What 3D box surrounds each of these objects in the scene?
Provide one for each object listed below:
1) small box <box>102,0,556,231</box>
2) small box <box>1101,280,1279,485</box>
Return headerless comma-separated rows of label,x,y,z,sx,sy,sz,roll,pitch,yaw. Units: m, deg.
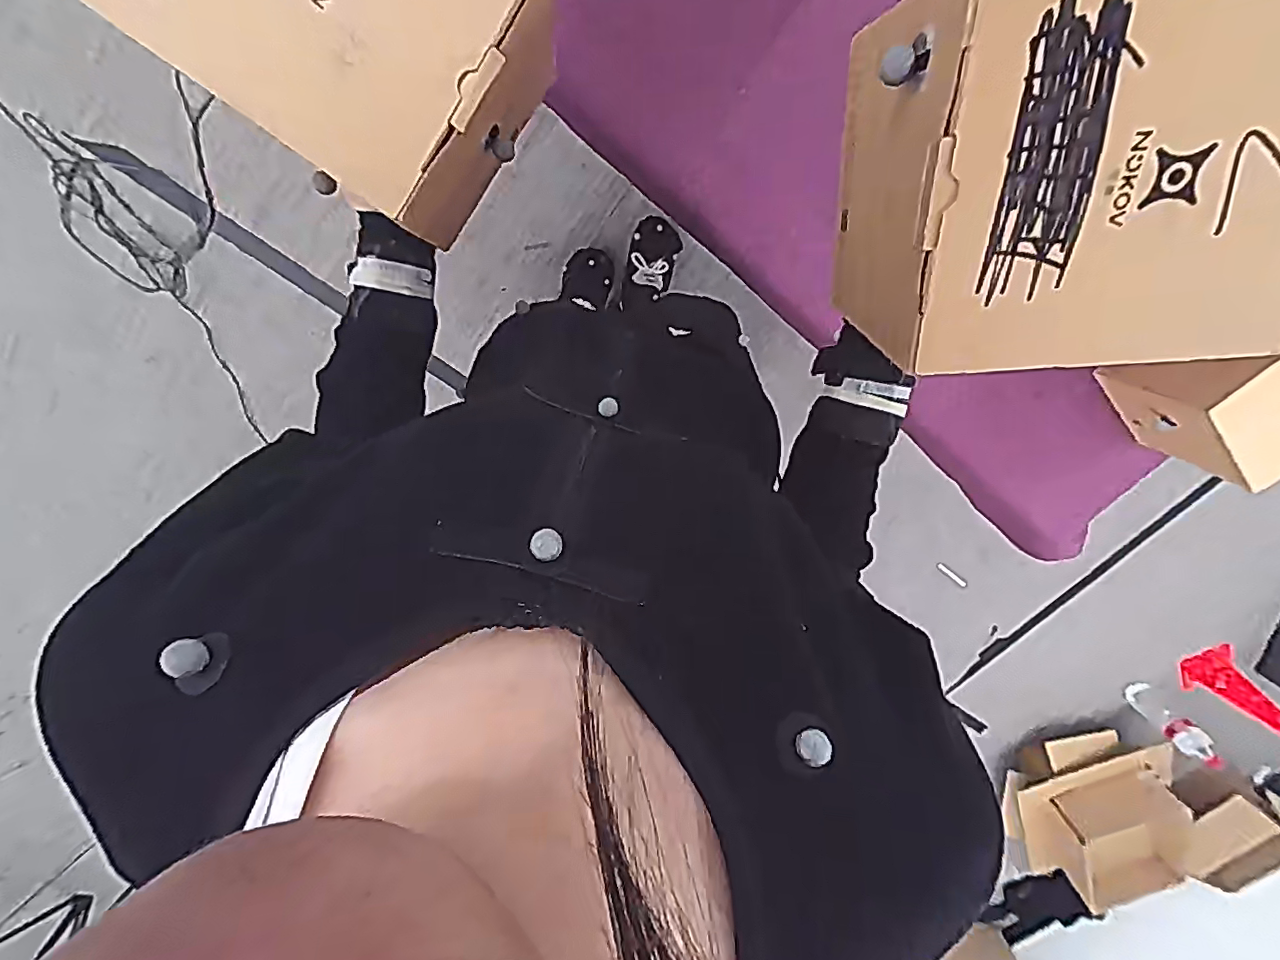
small box,-0.164,-0.280,0.338,0.179,0.176,0.168,33,99,-19
small box,0.754,-0.132,0.697,0.168,0.176,0.179,39,107,-21
